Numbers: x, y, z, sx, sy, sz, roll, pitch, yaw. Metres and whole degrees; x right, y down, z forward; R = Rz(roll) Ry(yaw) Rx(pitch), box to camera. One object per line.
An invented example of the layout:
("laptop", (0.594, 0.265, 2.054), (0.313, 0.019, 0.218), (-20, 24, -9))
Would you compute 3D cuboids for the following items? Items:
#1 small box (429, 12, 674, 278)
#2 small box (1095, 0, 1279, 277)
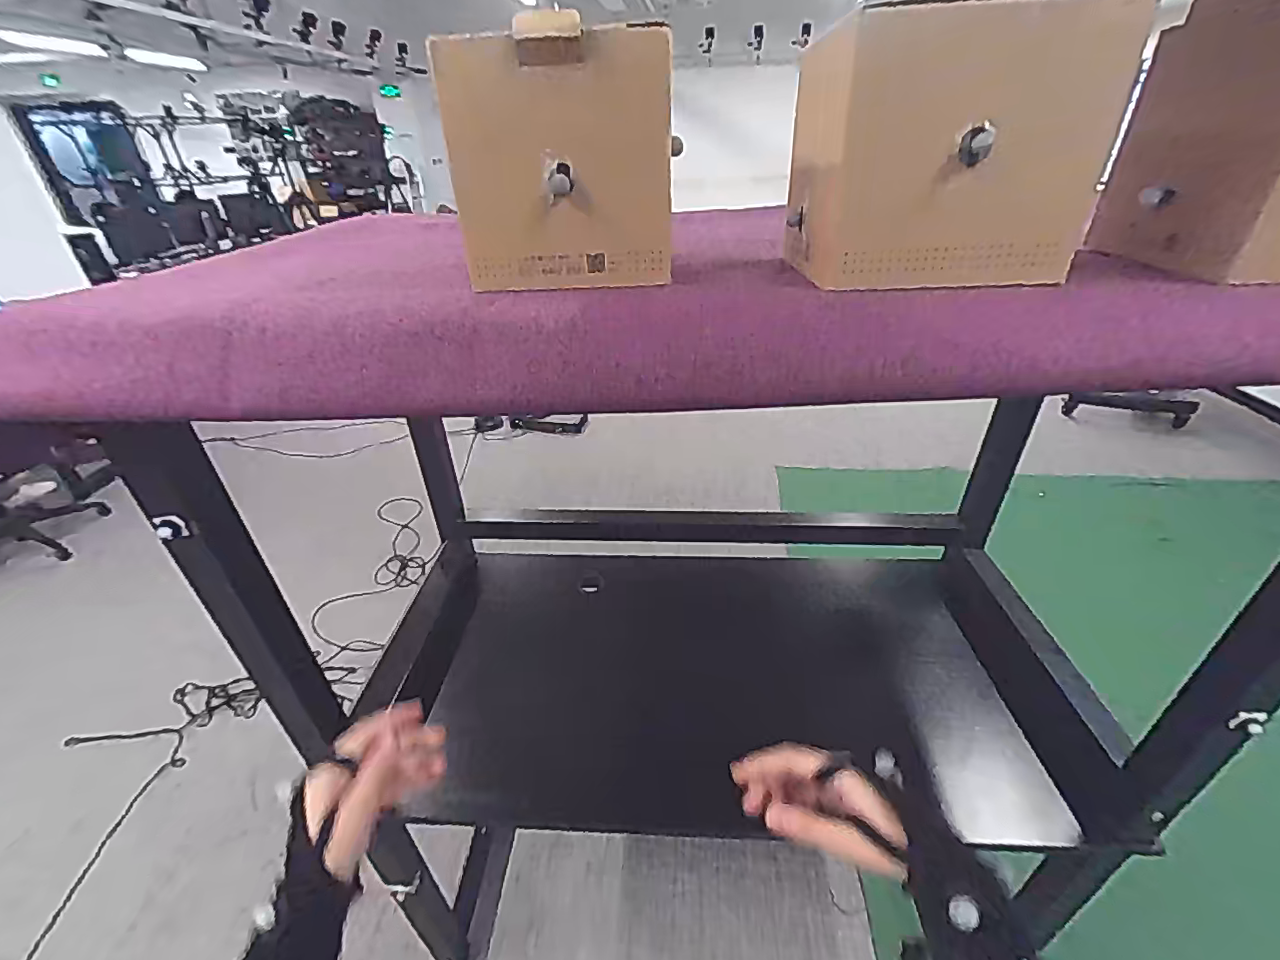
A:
("small box", (-0.056, -0.276, 0.469), (0.168, 0.176, 0.179), (-1, 32, 1))
("small box", (0.502, -0.256, 0.400), (0.179, 0.176, 0.168), (0, 32, 6))
